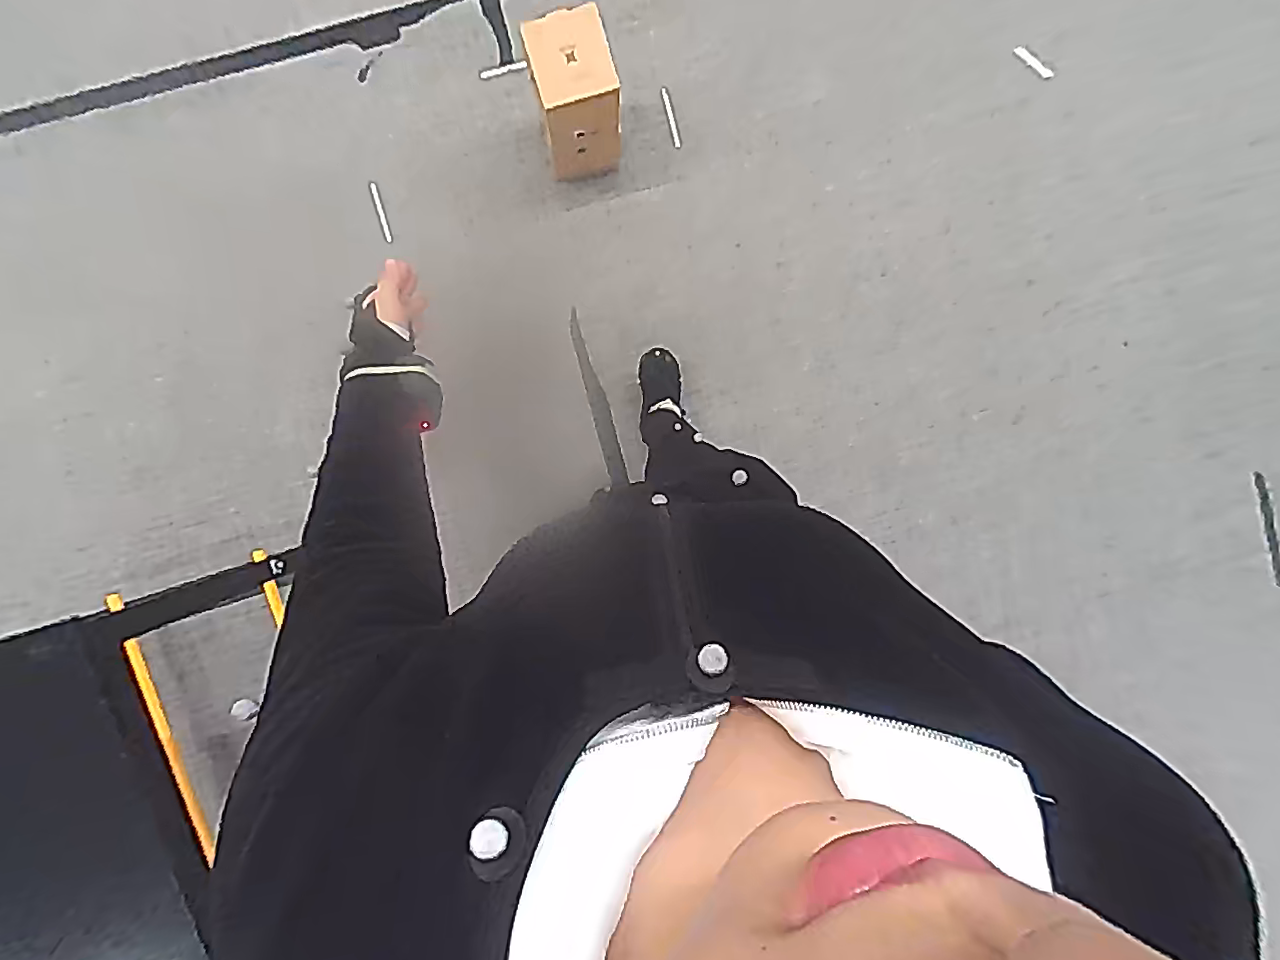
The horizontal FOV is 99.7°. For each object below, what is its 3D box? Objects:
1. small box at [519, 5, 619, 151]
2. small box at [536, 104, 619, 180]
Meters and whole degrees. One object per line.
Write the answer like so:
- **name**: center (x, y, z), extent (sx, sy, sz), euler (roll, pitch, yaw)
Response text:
- **small box**: center (-0.150, -0.866, 1.182), extent (0.168, 0.176, 0.179), euler (-18, 96, -1)
- **small box**: center (-0.156, -0.878, 1.344), extent (0.179, 0.176, 0.168), euler (-14, 95, -4)
